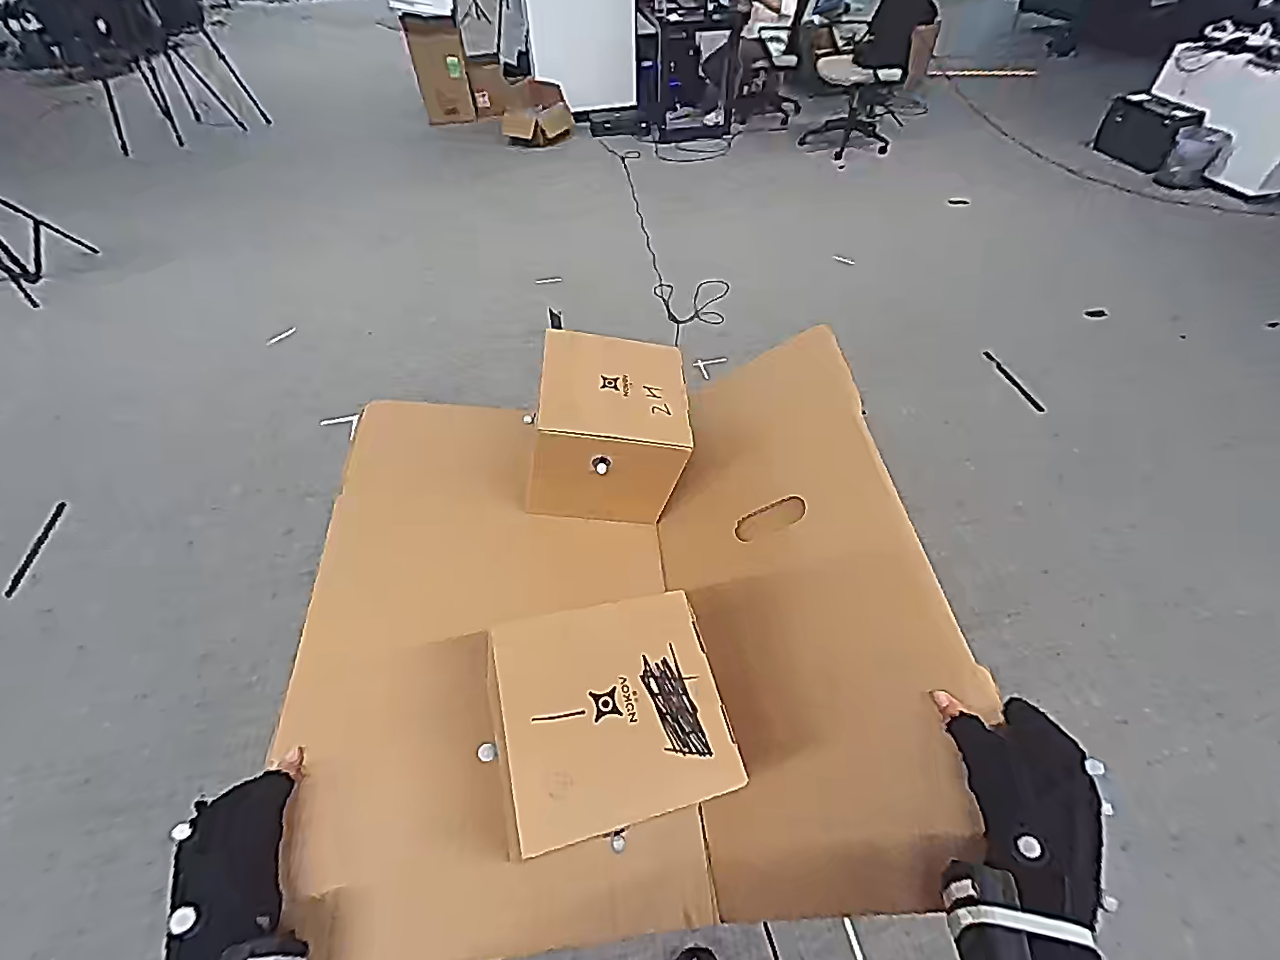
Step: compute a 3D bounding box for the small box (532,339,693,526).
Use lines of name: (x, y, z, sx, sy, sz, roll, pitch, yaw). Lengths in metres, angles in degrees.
small box: (-0.043, -0.054, 0.704, 0.179, 0.176, 0.168, 7, 54, -12)

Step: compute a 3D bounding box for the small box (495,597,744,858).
small box: (-0.036, 0.227, 0.499, 0.179, 0.176, 0.168, -6, 57, -19)
